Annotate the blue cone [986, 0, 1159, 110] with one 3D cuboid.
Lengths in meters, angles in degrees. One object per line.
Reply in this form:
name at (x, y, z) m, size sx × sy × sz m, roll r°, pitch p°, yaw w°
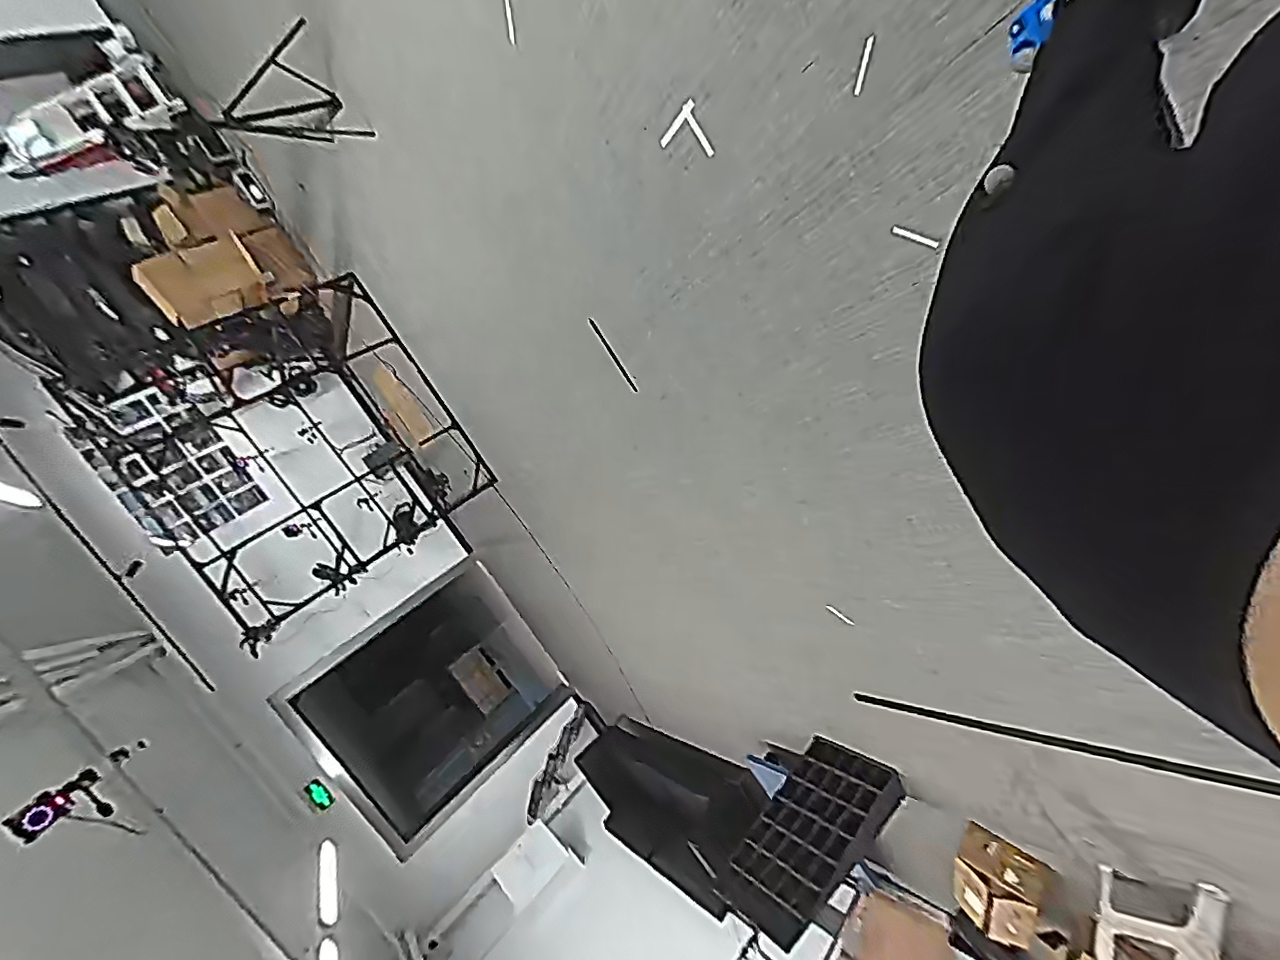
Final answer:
blue cone at (0.670, -0.718, 0.888) m, size 0.193 × 0.380 × 0.192 m, roll 56°, pitch 151°, yaw -6°
